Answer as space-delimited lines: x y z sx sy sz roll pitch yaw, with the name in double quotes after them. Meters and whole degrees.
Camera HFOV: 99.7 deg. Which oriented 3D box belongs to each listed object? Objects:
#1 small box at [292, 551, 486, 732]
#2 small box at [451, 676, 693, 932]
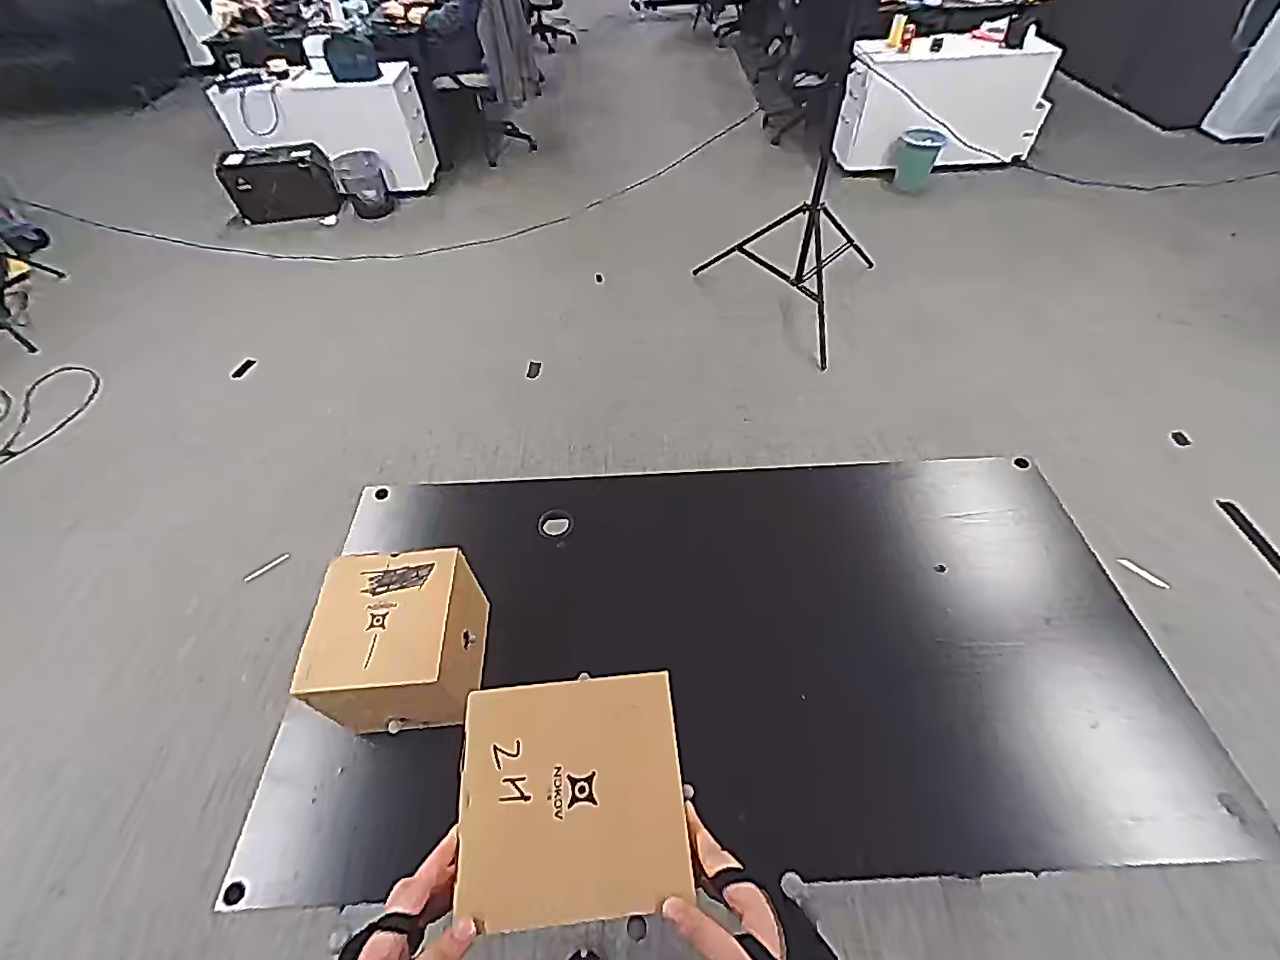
-0.309 0.215 0.713 0.168 0.176 0.179 -5 52 -1 "small box"
-0.055 0.289 0.496 0.179 0.176 0.168 -5 56 -3 "small box"
